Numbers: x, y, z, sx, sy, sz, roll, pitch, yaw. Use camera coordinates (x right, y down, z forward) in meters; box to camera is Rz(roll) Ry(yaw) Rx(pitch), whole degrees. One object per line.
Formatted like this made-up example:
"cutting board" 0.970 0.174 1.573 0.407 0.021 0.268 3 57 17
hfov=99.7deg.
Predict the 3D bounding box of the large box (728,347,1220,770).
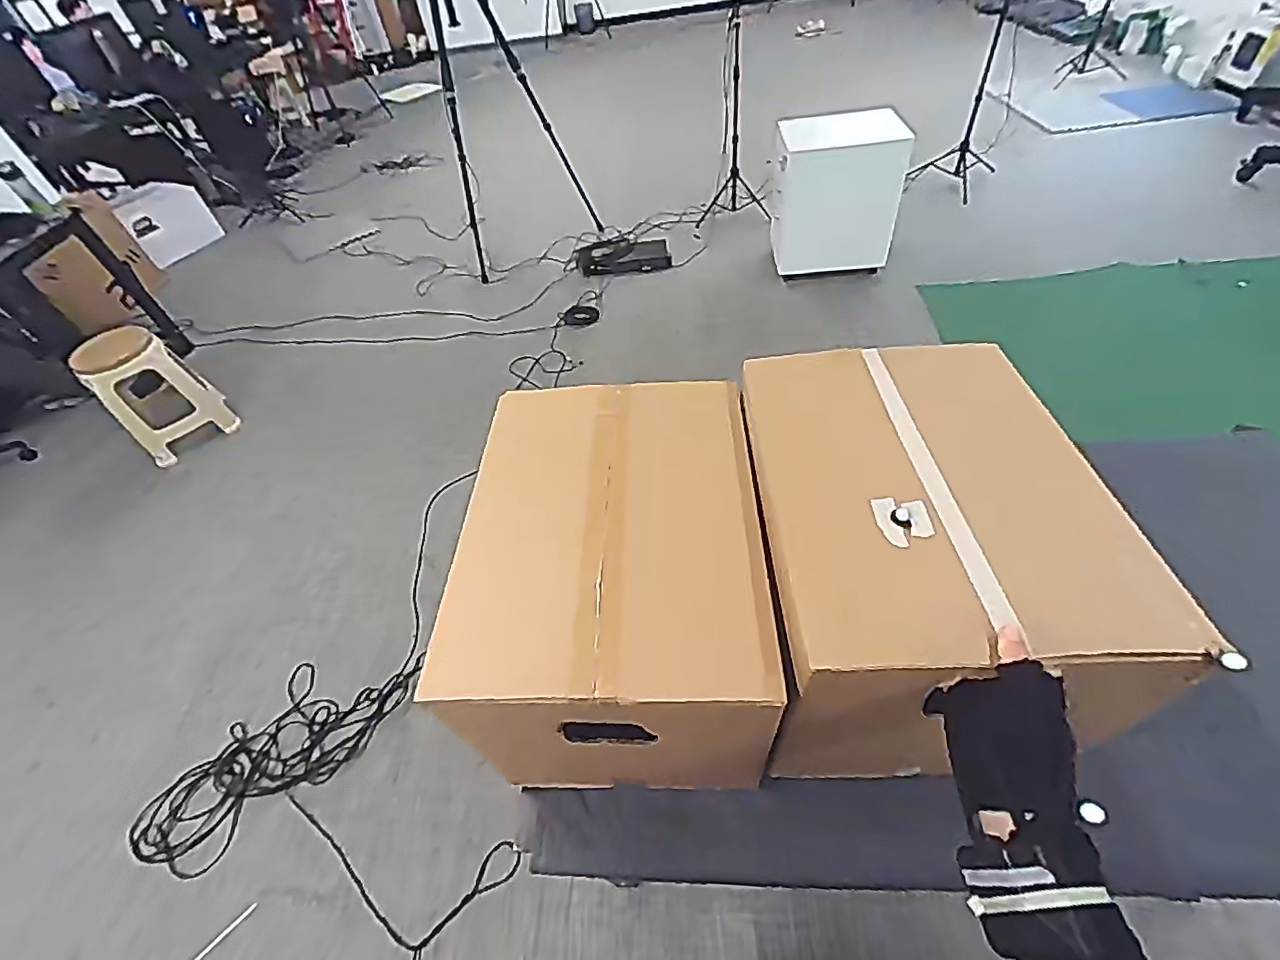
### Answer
"large box" 0.290 0.090 0.651 0.320 0.320 0.408 -4 48 4
